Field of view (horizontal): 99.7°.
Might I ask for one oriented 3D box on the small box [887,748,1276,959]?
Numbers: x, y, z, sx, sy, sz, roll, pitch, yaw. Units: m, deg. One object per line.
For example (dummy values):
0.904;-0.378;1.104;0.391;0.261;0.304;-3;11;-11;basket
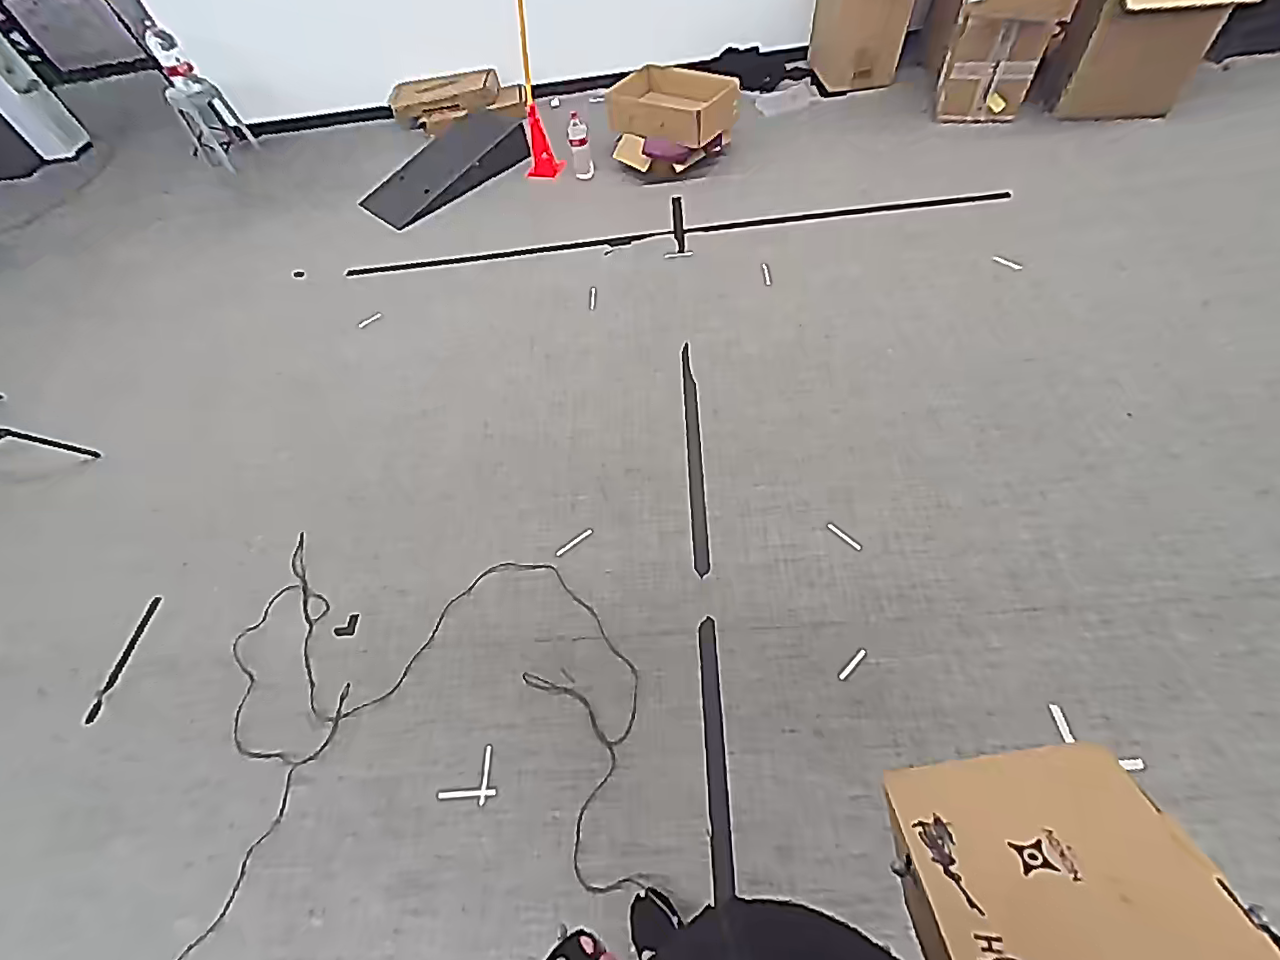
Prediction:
0.313;0.343;0.415;0.179;0.176;0.168;-14;20;10;small box
